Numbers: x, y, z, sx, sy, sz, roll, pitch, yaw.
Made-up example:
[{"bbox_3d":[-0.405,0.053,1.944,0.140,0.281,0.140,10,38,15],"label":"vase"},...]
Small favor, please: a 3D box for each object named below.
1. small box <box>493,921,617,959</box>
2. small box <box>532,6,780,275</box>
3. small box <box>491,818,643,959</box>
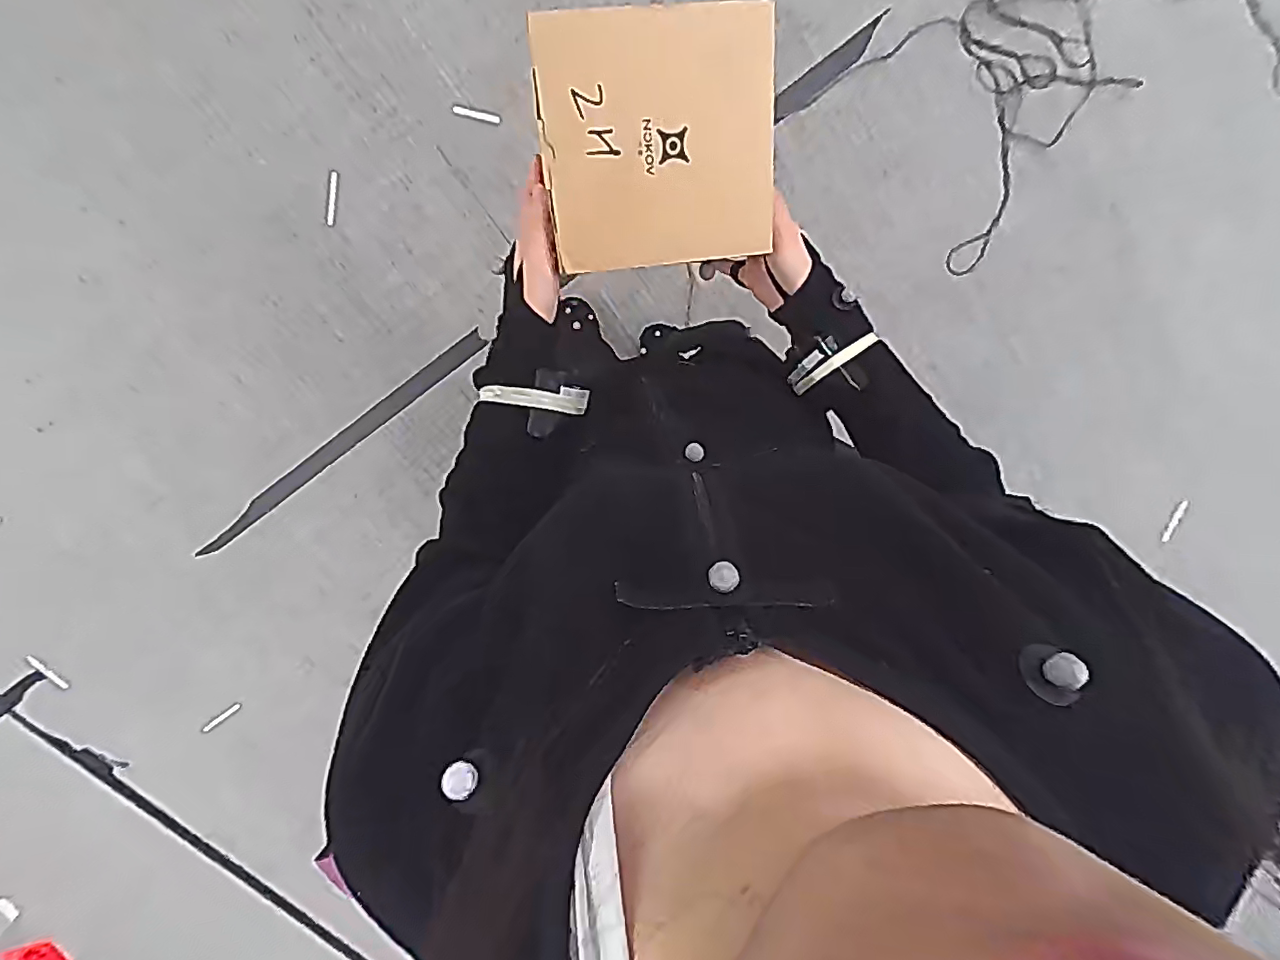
[{"bbox_3d":[-0.100,0.734,0.703,0.168,0.176,0.179,-31,106,6],"label":"small box"},{"bbox_3d":[0.004,-0.276,0.469,0.179,0.176,0.168,-8,114,-7],"label":"small box"},{"bbox_3d":[-0.105,0.692,0.861,0.168,0.176,0.179,-33,105,6],"label":"small box"}]
